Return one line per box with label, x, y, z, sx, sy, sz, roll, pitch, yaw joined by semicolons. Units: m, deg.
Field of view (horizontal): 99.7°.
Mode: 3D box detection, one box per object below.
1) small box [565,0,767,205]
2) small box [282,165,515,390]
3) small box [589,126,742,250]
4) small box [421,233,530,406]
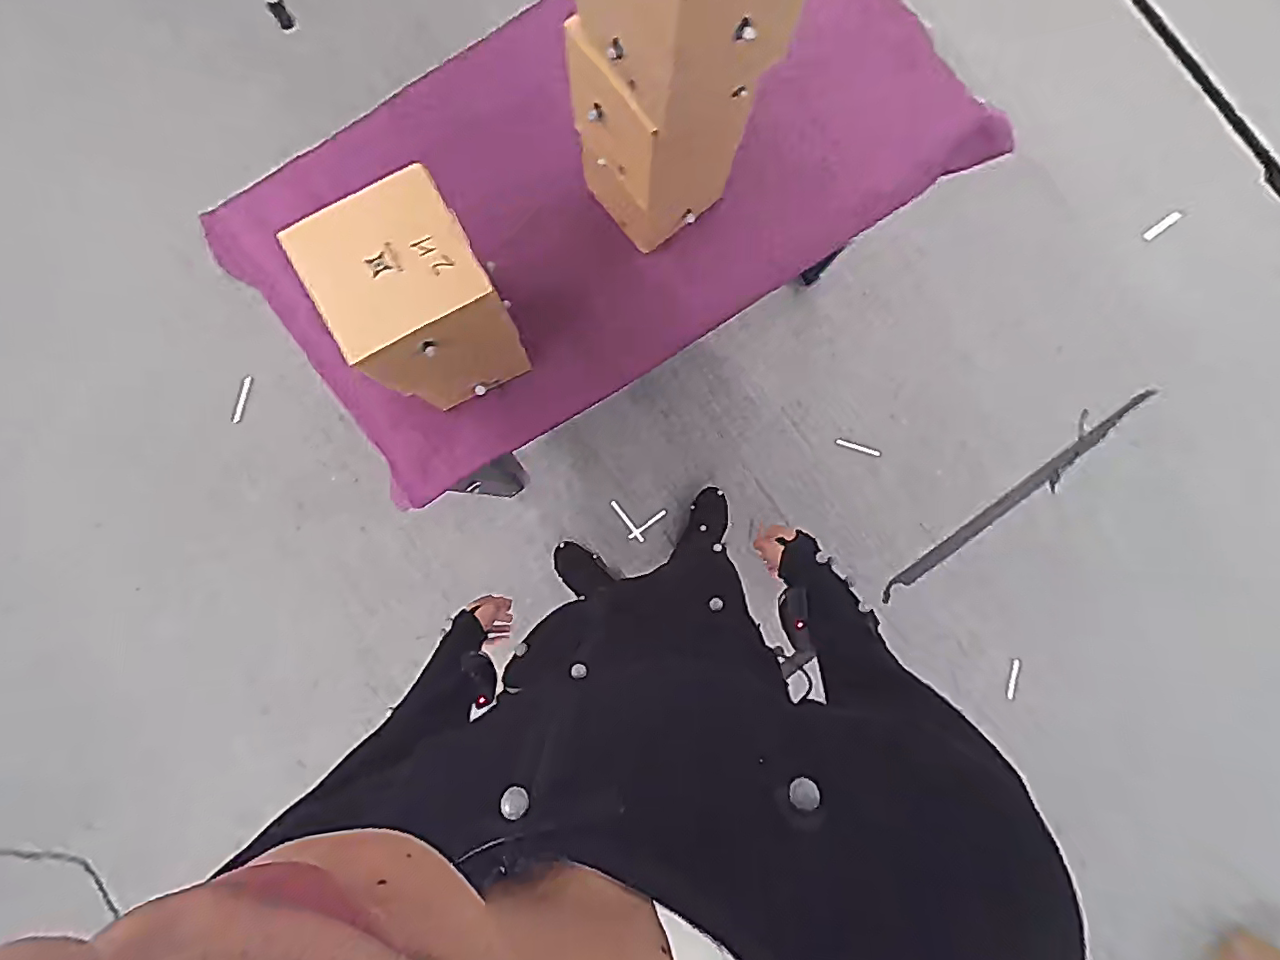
small box;0.028;-0.499;0.693;0.179;0.176;0.168;-39;89;-4
small box;-0.276;-0.229;0.662;0.179;0.176;0.168;-29;90;-4
small box;0.028;-0.509;0.856;0.179;0.176;0.168;-39;88;-5
small box;-0.285;-0.234;0.826;0.168;0.176;0.179;-27;90;-4
